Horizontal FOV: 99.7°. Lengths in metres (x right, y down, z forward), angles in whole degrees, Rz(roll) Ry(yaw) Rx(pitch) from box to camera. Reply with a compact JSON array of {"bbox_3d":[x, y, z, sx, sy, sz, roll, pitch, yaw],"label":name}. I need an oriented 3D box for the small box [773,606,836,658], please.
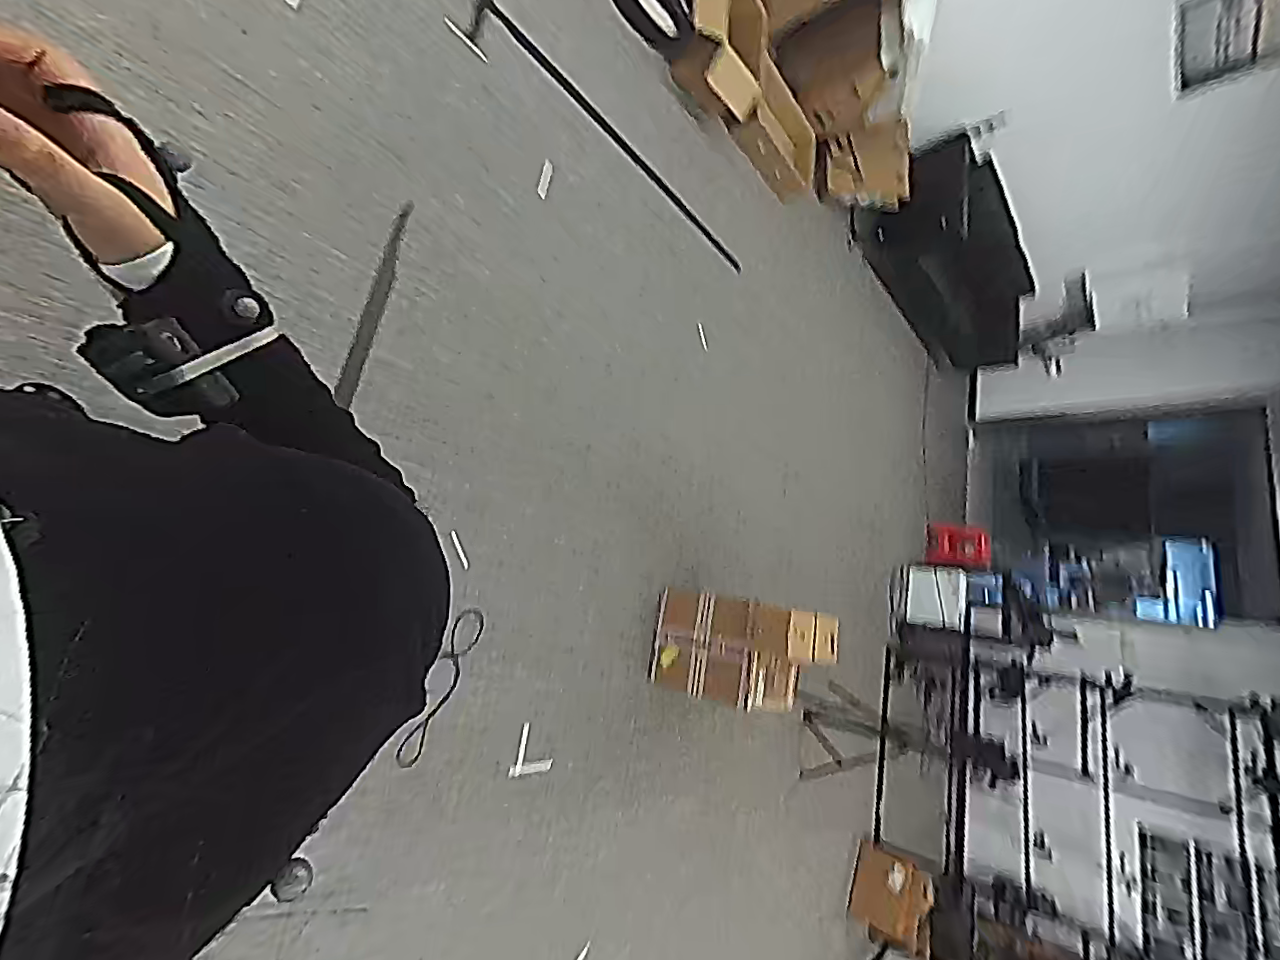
[{"bbox_3d":[0.638,0.585,2.091,0.179,0.176,0.168,22,70,-41],"label":"small box"}]
